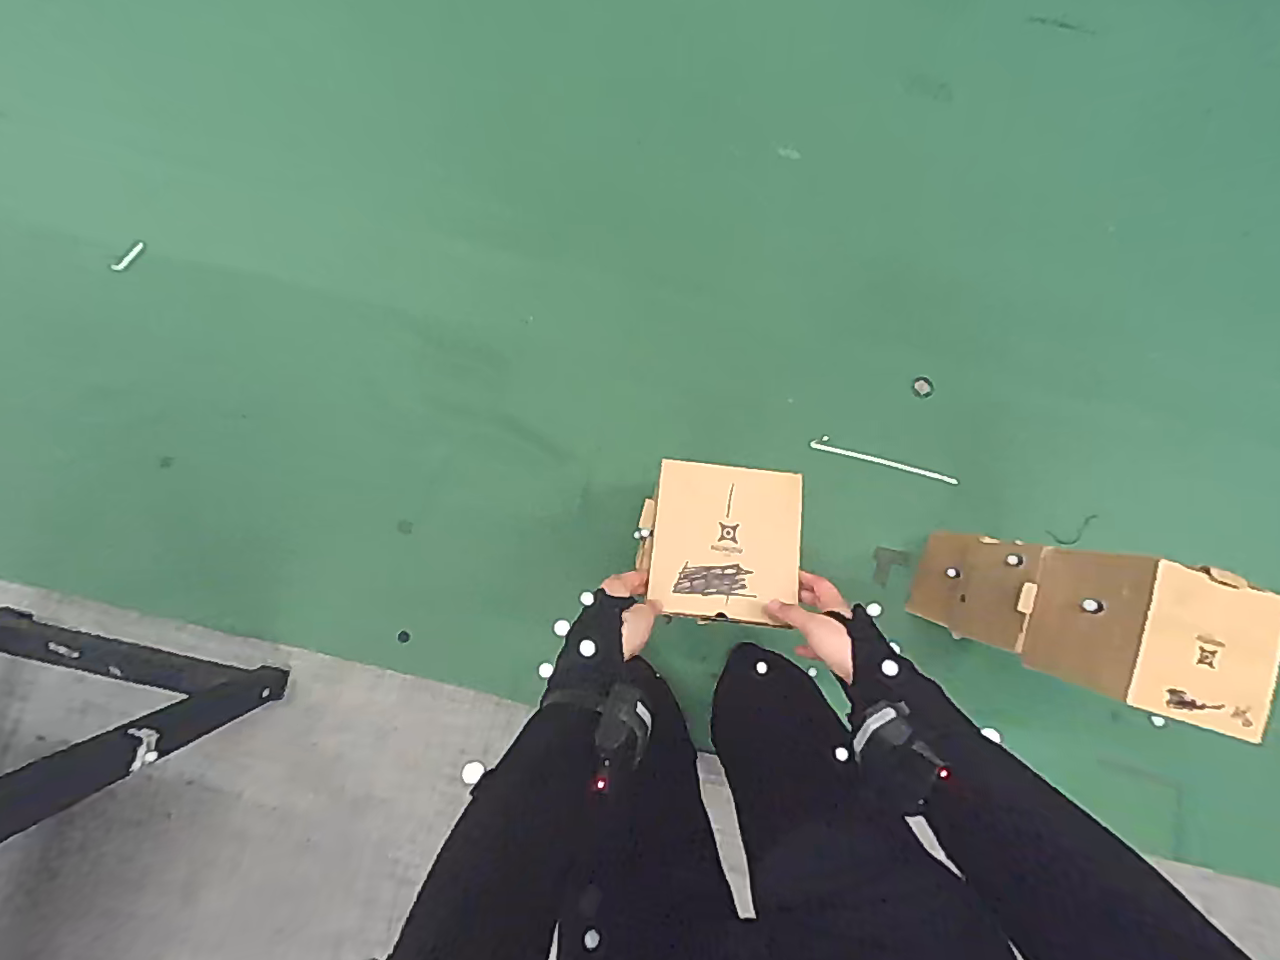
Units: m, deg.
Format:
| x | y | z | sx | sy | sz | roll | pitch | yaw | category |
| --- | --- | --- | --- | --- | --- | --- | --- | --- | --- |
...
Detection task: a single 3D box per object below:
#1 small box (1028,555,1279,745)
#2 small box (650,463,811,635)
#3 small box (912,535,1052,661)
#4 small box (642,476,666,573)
| x | y | z | sx | sy | sz | roll | pitch | yaw | category |
| --- | --- | --- | --- | --- | --- | --- | --- | --- | --- |
| 0.654 | 0.204 | 0.704 | 0.168 | 0.176 | 0.179 | 18 | 85 | -2 | small box |
| 0.103 | 0.092 | 0.677 | 0.168 | 0.176 | 0.179 | 7 | 76 | 0 | small box |
| 0.654 | 0.215 | 1.033 | 0.168 | 0.176 | 0.179 | 22 | 86 | 0 | small box |
| 0.105 | 0.081 | 0.860 | 0.179 | 0.176 | 0.168 | 15 | 87 | -1 | small box |
